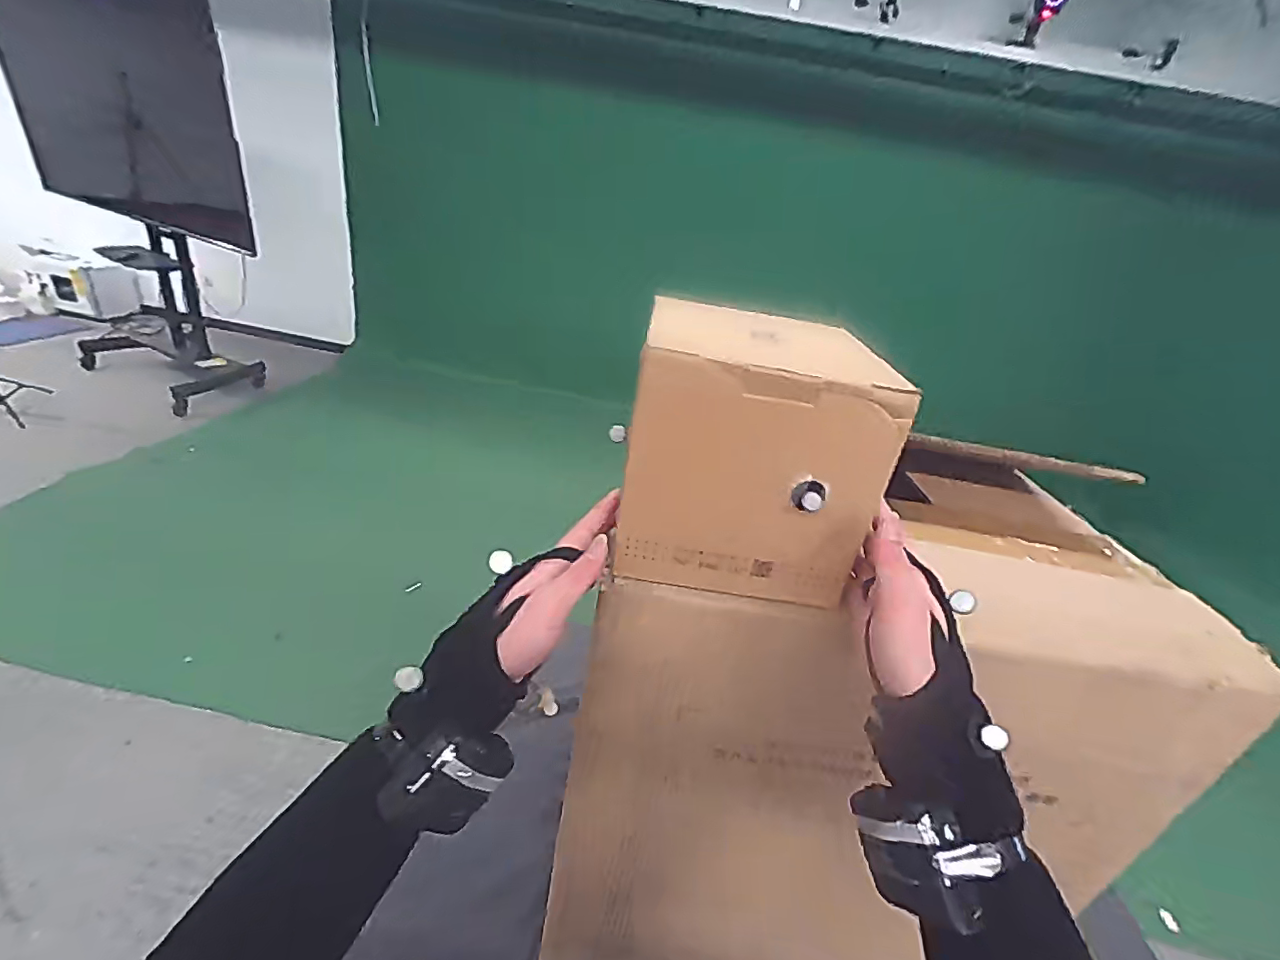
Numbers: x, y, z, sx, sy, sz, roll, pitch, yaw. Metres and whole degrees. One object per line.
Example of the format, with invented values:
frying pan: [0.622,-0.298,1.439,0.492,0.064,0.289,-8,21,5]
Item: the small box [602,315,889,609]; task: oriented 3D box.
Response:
small box: [0.066,-0.021,0.433,0.168,0.176,0.179,9,27,0]
